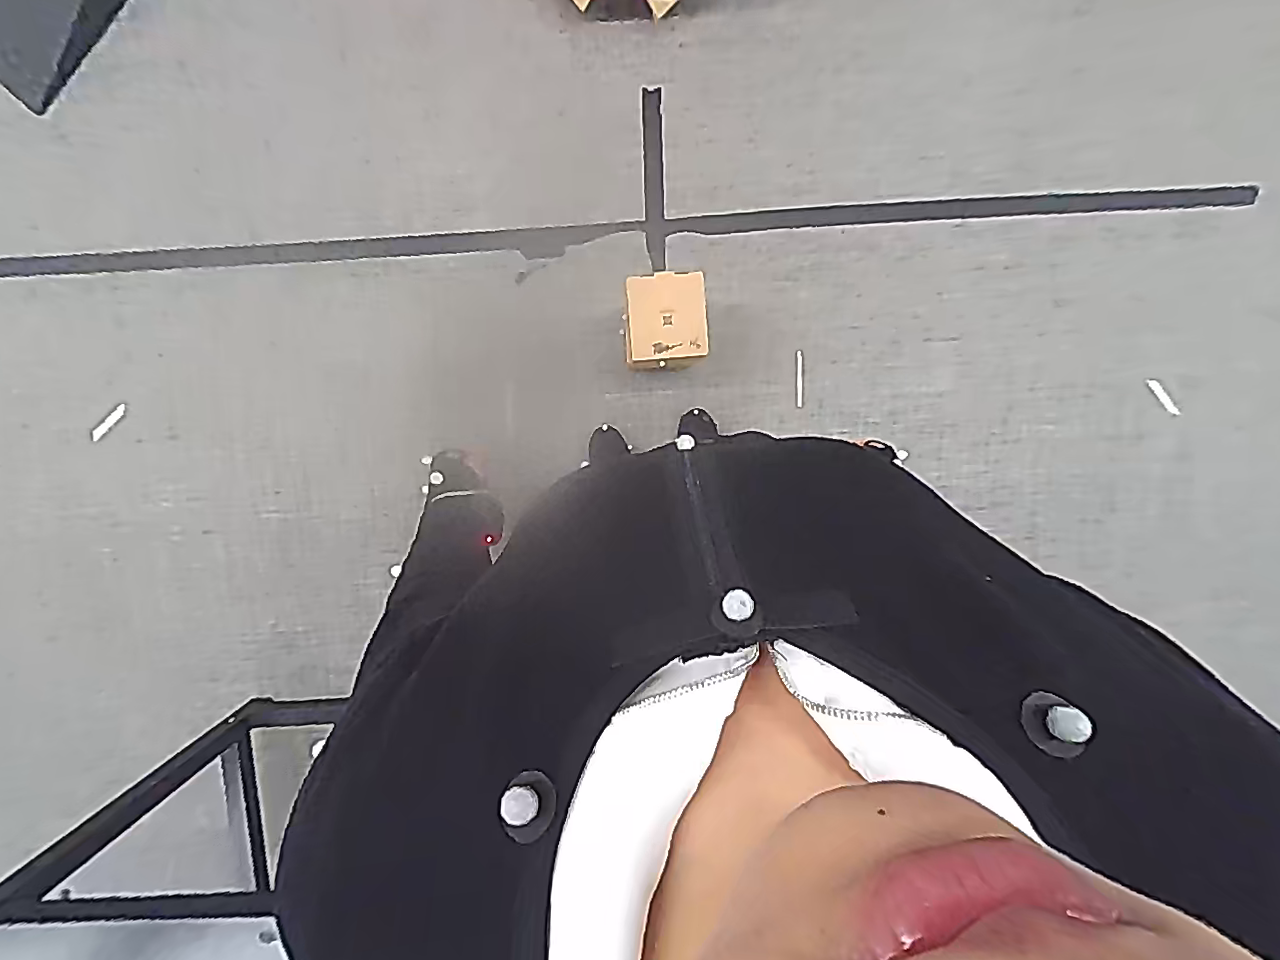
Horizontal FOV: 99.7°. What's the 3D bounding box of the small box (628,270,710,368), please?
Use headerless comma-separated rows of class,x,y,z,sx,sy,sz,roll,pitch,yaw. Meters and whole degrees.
small box,0.060,-0.354,1.216,0.168,0.176,0.179,-5,95,0

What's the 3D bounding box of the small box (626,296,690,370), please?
small box,0.056,-0.375,1.379,0.179,0.176,0.168,-3,96,1
